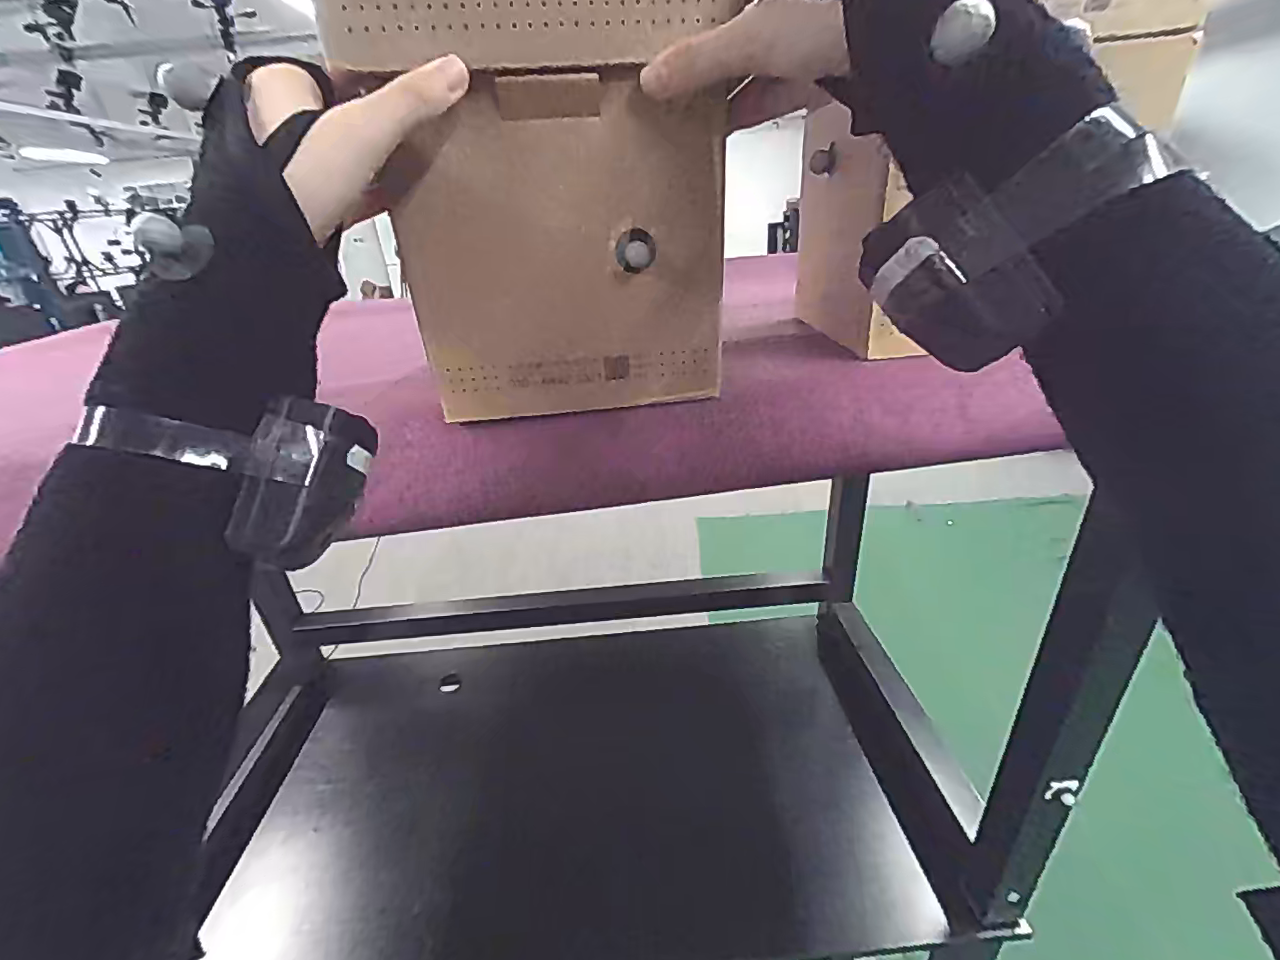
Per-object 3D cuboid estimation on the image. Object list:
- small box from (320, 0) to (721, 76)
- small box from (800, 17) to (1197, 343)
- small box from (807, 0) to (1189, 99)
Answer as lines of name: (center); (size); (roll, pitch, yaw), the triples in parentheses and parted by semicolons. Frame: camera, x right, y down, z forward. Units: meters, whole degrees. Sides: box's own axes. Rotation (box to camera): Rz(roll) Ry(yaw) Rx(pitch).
small box: (-0.056, -0.294, 0.248); (0.179, 0.176, 0.168); (-7, 35, -6)
small box: (0.223, -0.201, 0.399); (0.168, 0.176, 0.179); (-5, 26, 1)
small box: (0.208, -0.347, 0.326); (0.168, 0.176, 0.179); (-5, 27, 1)
